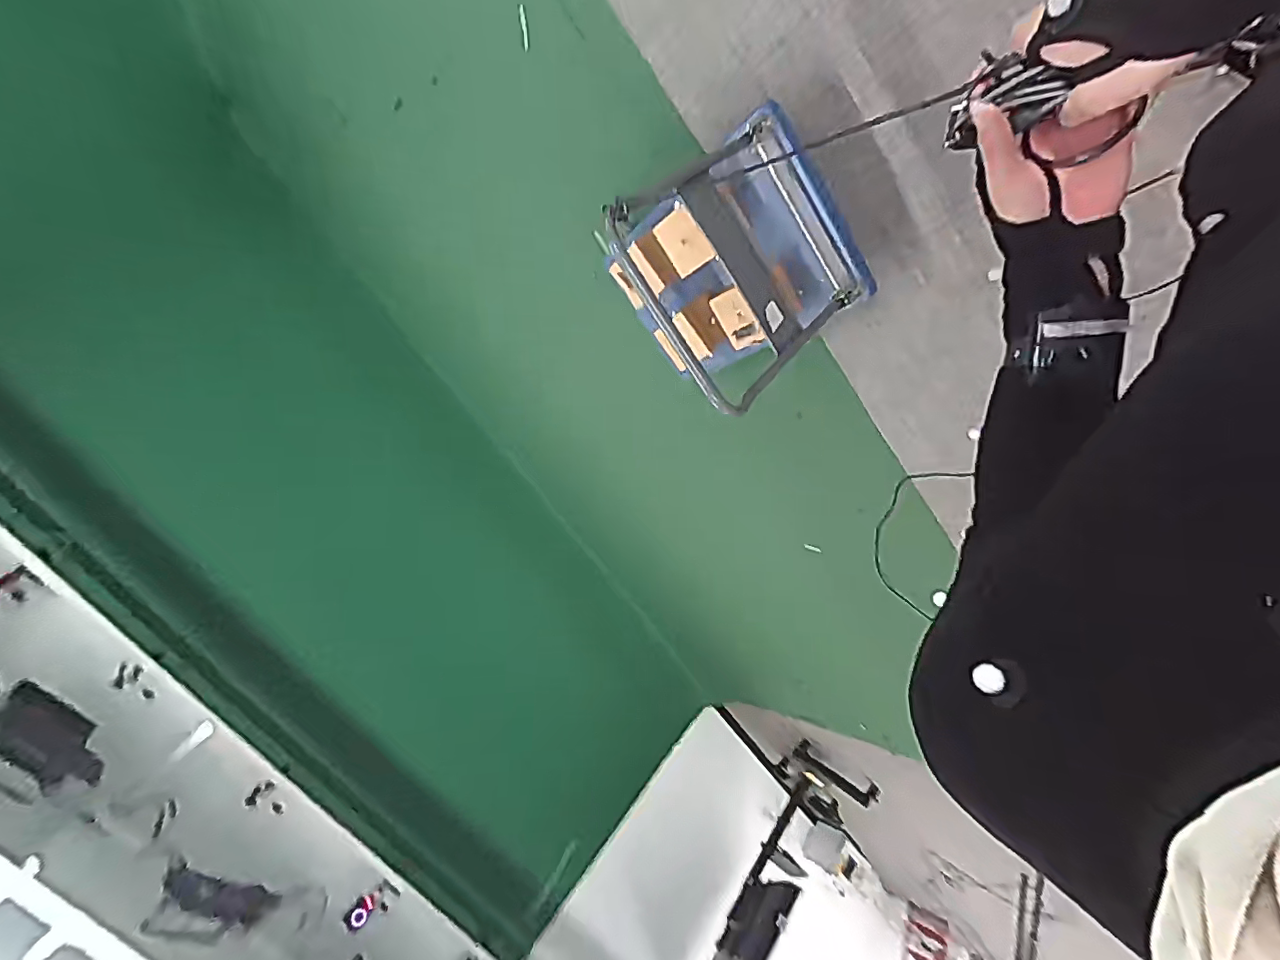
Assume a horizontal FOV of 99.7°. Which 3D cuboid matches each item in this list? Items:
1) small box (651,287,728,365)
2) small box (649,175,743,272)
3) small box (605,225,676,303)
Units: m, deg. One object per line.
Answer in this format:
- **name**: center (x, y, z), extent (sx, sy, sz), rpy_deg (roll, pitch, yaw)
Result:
- **small box**: center (0.176, -0.529, 1.857), extent (0.168, 0.176, 0.179), rpy_deg (52, 151, -12)
- **small box**: center (0.167, -0.749, 1.581), extent (0.168, 0.176, 0.179), rpy_deg (54, 149, -17)
- **small box**: center (0.024, -0.726, 1.794), extent (0.168, 0.176, 0.179), rpy_deg (51, 150, -14)
